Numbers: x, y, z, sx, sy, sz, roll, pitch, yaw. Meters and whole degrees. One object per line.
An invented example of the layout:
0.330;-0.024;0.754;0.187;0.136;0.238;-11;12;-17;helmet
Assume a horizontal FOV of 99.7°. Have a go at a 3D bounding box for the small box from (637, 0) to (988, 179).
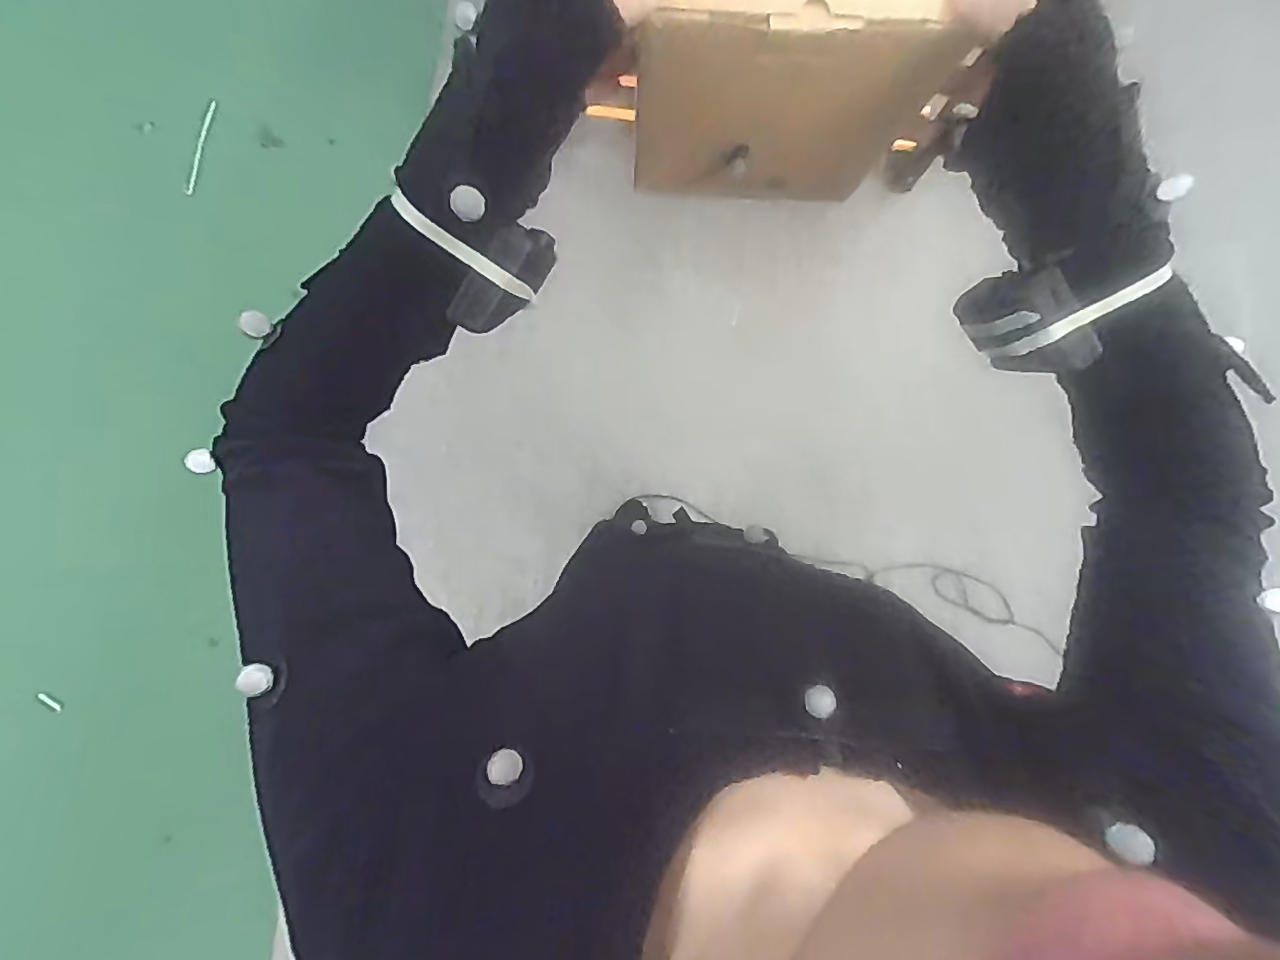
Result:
0.084;-0.314;0.322;0.168;0.176;0.179;1;92;-2;small box
